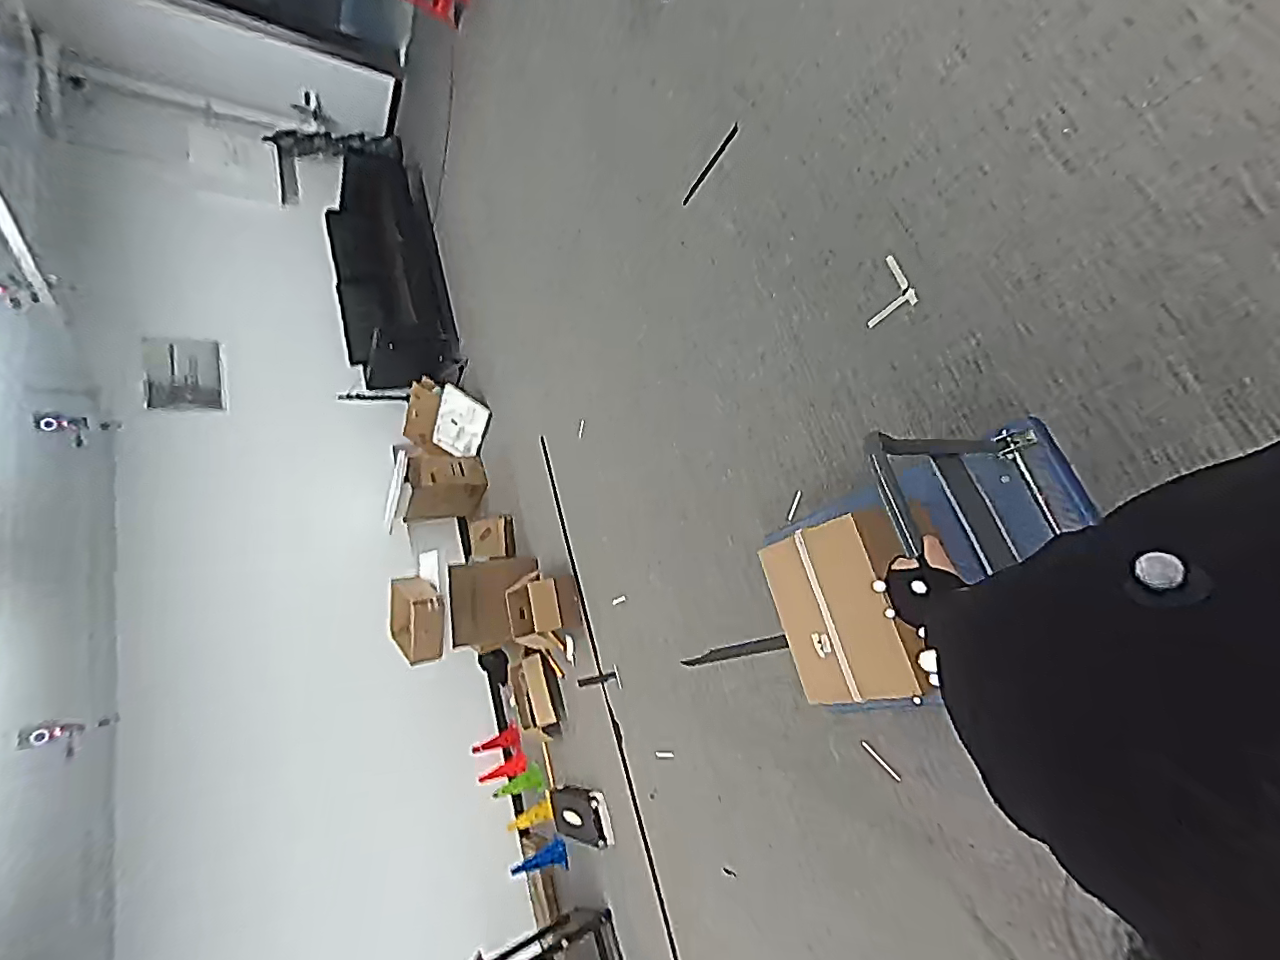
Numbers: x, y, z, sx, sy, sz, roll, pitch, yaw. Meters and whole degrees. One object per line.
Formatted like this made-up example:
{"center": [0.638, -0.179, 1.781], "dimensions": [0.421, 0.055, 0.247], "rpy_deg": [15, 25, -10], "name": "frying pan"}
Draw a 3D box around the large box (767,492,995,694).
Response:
{"center": [0.590, 0.278, 1.356], "dimensions": [0.320, 0.320, 0.408], "rpy_deg": [-37, 65, 52], "name": "large box"}
